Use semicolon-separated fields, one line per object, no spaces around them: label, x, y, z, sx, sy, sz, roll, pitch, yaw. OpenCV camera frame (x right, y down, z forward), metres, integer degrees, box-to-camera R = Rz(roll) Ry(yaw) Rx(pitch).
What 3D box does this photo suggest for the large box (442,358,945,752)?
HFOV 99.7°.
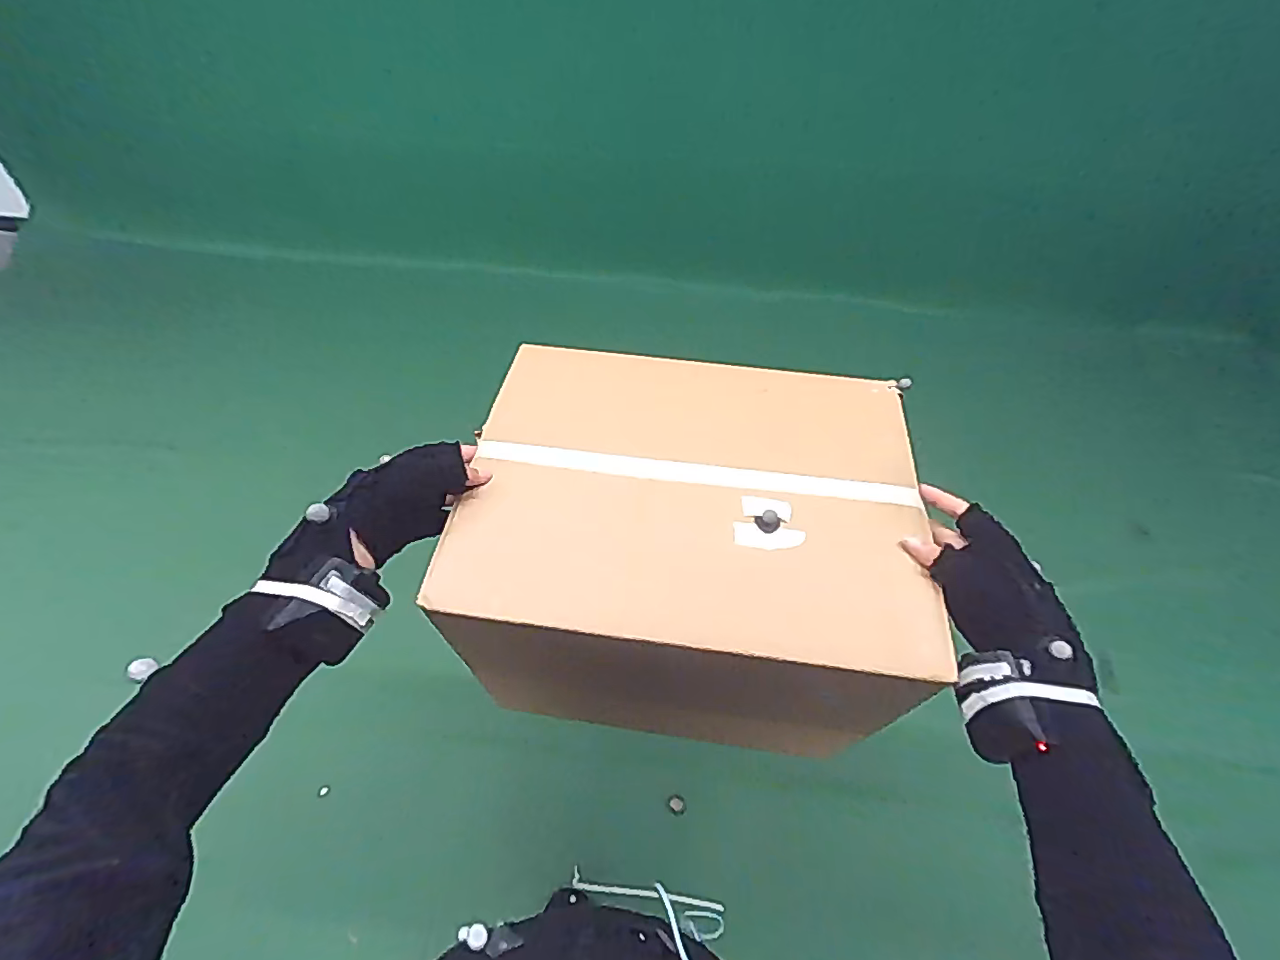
large box;0.050;0.093;0.626;0.408;0.320;0.320;7;54;4
